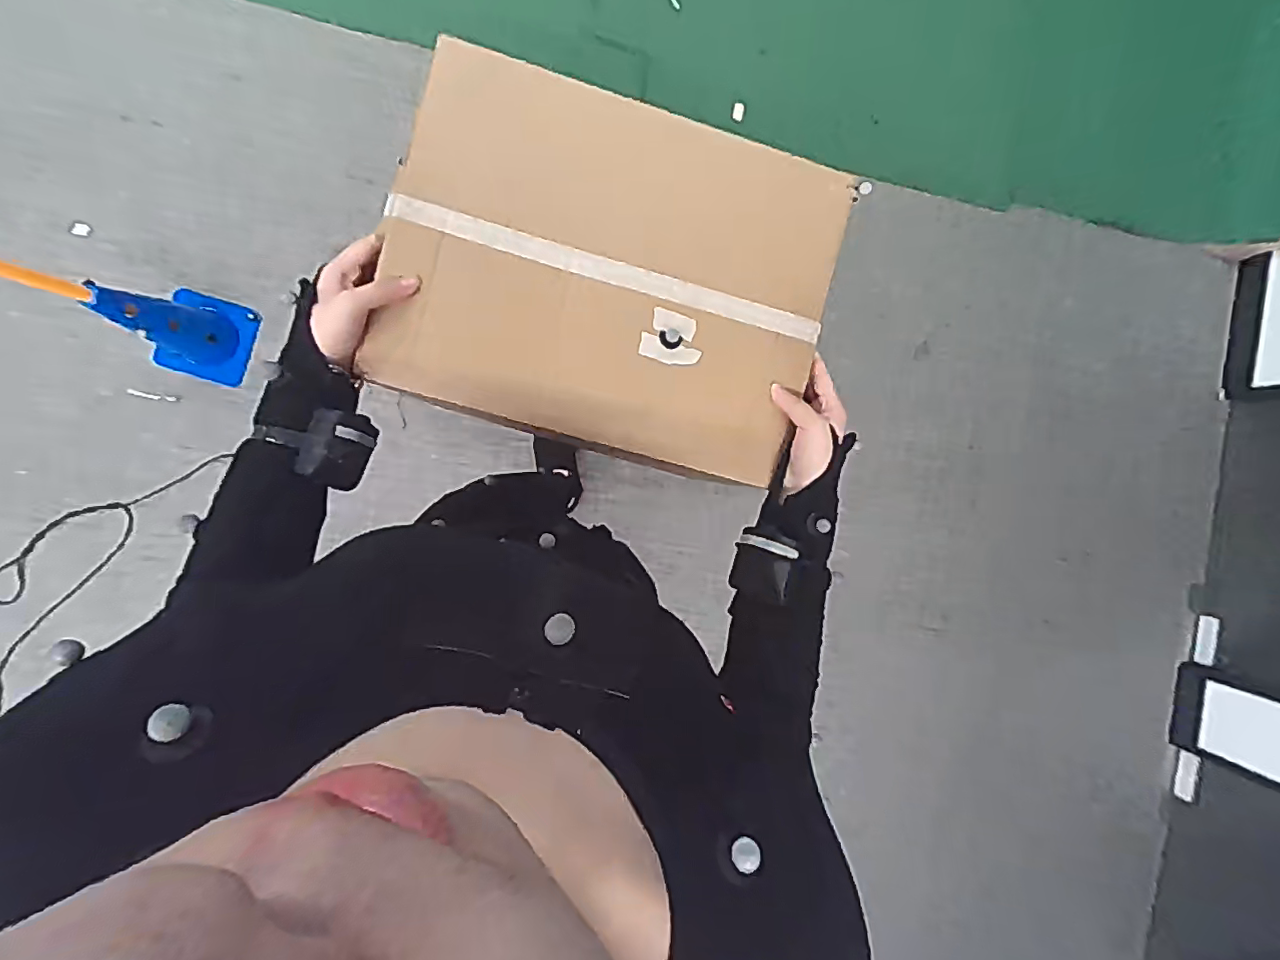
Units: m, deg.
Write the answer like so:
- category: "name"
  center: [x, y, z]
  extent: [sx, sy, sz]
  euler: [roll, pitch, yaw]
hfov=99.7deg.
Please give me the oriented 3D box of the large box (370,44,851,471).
- category: "large box"
  center: [-0.036, -0.205, 0.655]
  extent: [0.408, 0.320, 0.320]
  euler: [15, 91, -7]

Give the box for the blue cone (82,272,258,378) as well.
- category: "blue cone"
  center: [-1.032, -0.354, 1.167]
  extent: [0.193, 0.380, 0.192]
  euler: [19, 88, -10]
